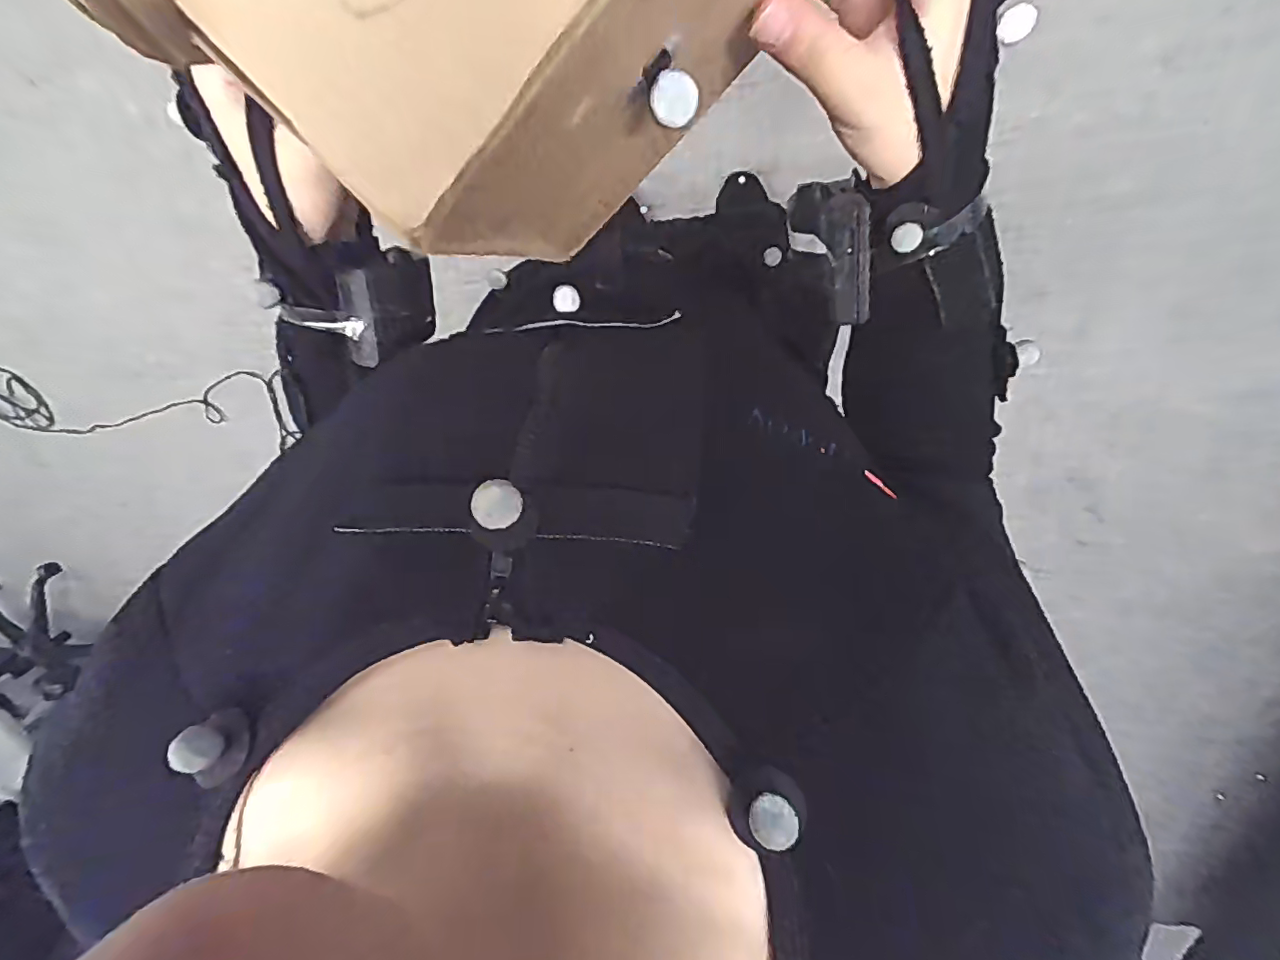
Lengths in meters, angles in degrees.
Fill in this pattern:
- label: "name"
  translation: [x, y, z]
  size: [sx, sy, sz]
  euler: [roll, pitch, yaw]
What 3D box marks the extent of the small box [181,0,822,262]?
- label: "small box"
  translation: [-0.034, -0.191, 0.170]
  size: [0.179, 0.176, 0.168]
  euler: [-41, 102, 18]
